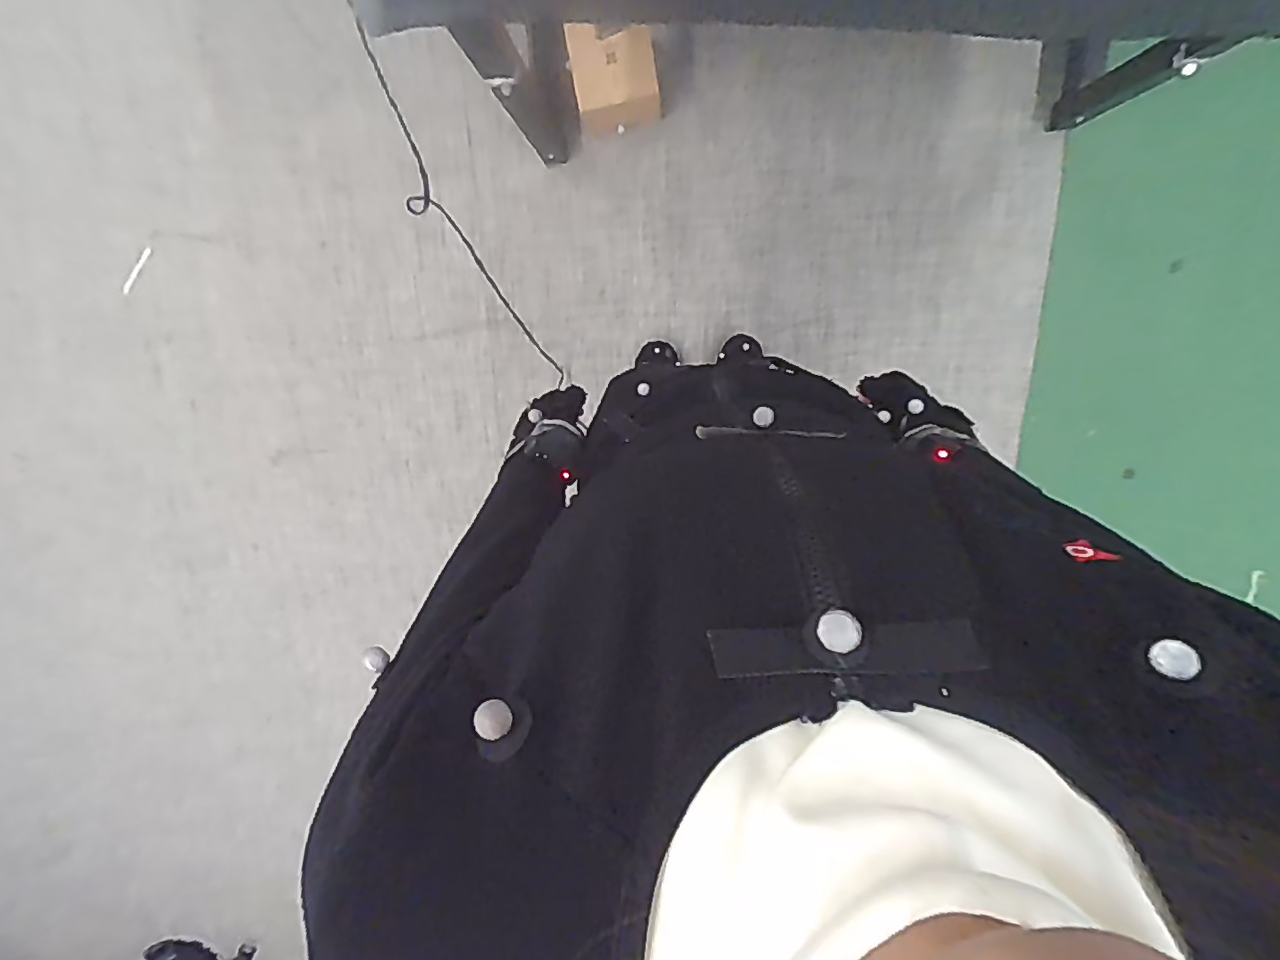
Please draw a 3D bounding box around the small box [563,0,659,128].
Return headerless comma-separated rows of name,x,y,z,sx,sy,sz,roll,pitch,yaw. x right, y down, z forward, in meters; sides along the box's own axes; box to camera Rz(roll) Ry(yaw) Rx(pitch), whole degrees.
small box,-0.054,-0.872,1.126,0.168,0.176,0.179,-9,106,5
